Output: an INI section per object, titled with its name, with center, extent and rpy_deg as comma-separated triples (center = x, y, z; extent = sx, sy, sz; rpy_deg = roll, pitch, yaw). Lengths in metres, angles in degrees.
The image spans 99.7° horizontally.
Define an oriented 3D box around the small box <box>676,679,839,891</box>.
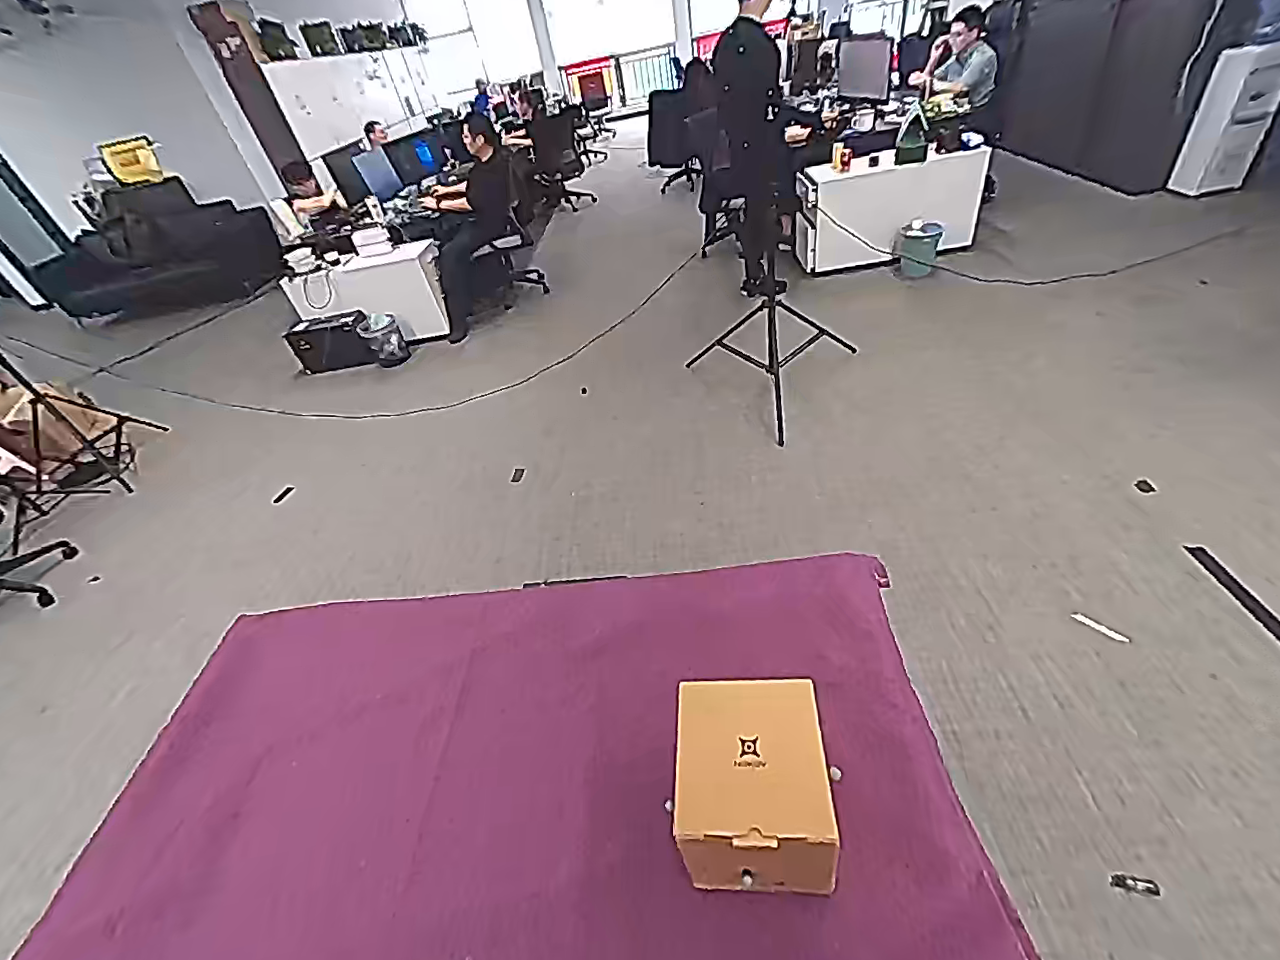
[small box]
center = 0.137, 0.366, 0.658
extent = 0.168, 0.176, 0.179
rpy_deg = -5, 39, 10
